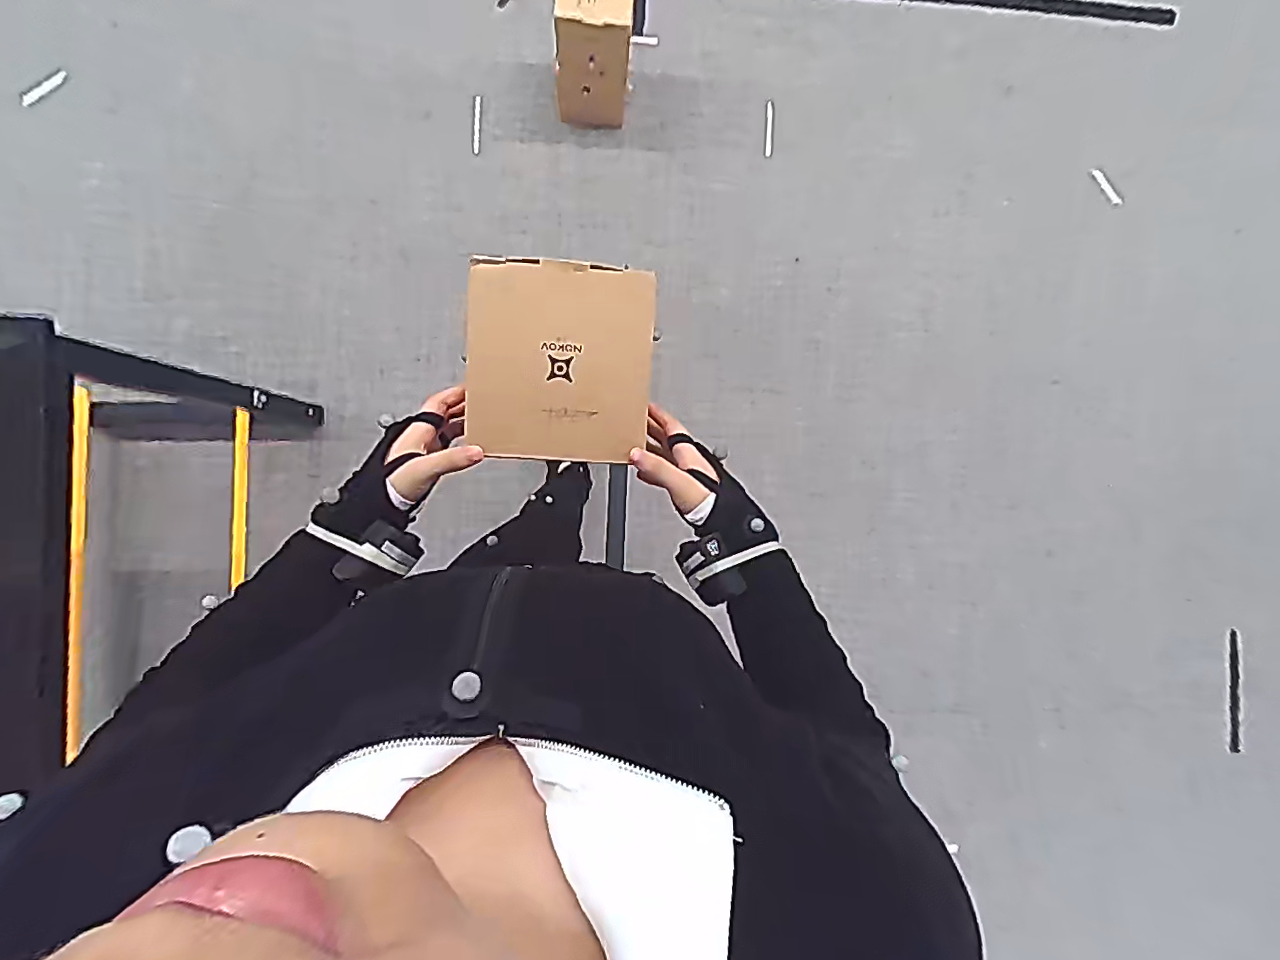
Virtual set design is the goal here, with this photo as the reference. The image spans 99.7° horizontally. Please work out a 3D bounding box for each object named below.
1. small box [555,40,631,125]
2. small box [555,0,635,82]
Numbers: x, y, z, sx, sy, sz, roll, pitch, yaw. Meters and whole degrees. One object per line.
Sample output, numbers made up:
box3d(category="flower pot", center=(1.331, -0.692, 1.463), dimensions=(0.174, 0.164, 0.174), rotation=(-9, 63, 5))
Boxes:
box3d(category="small box", center=(-0.117, -1.052, 1.388), dimensions=(0.179, 0.176, 0.168), rotation=(5, 90, -5))
box3d(category="small box", center=(-0.097, -1.057, 1.225), dimensions=(0.168, 0.176, 0.179), rotation=(5, 90, -4))
